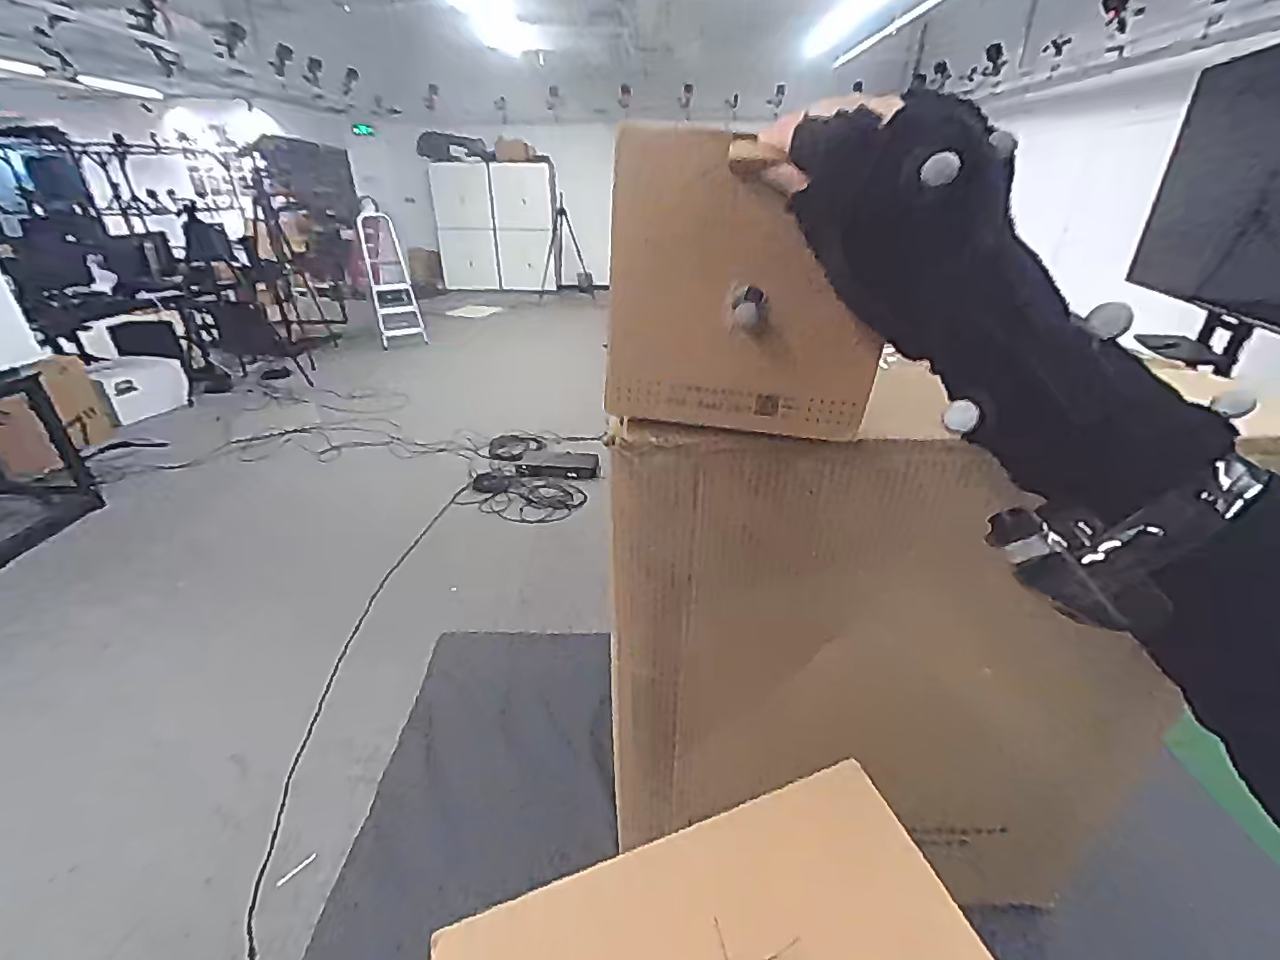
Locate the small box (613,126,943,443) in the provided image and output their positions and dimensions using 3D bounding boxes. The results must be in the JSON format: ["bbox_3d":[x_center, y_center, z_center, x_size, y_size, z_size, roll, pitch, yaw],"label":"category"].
[{"bbox_3d":[0.078,-0.142,0.383,0.168,0.176,0.179,9,31,5],"label":"small box"}]
